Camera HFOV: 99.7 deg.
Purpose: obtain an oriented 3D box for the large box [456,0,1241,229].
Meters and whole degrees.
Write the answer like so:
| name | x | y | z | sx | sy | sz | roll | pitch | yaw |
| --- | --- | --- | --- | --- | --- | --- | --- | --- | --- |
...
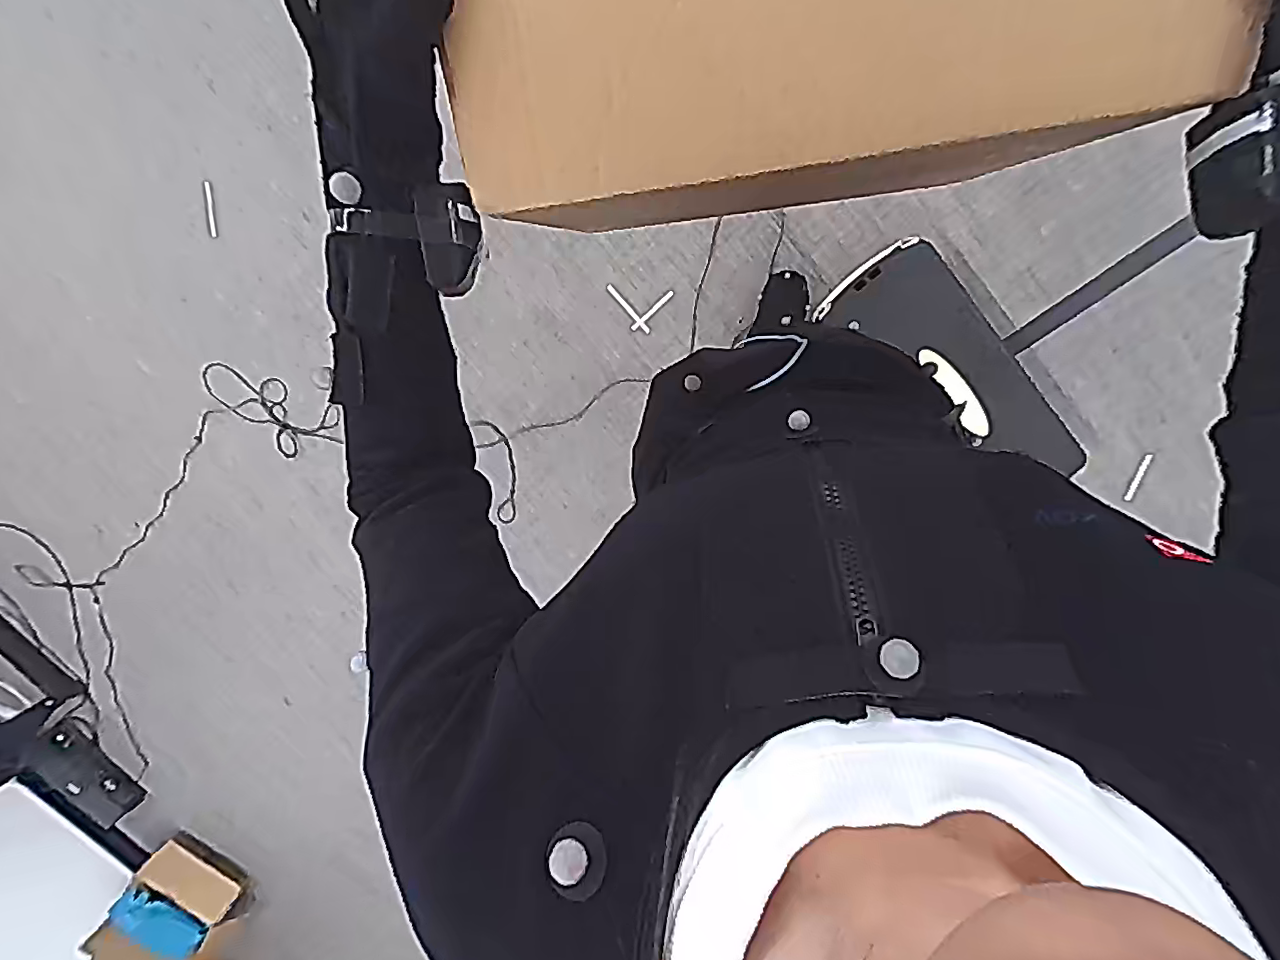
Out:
| name | x | y | z | sx | sy | sz | roll | pitch | yaw |
| --- | --- | --- | --- | --- | --- | --- | --- | --- | --- |
| large box | 0.100 | -0.387 | 0.391 | 0.408 | 0.320 | 0.320 | -4 | 112 | 9 |
